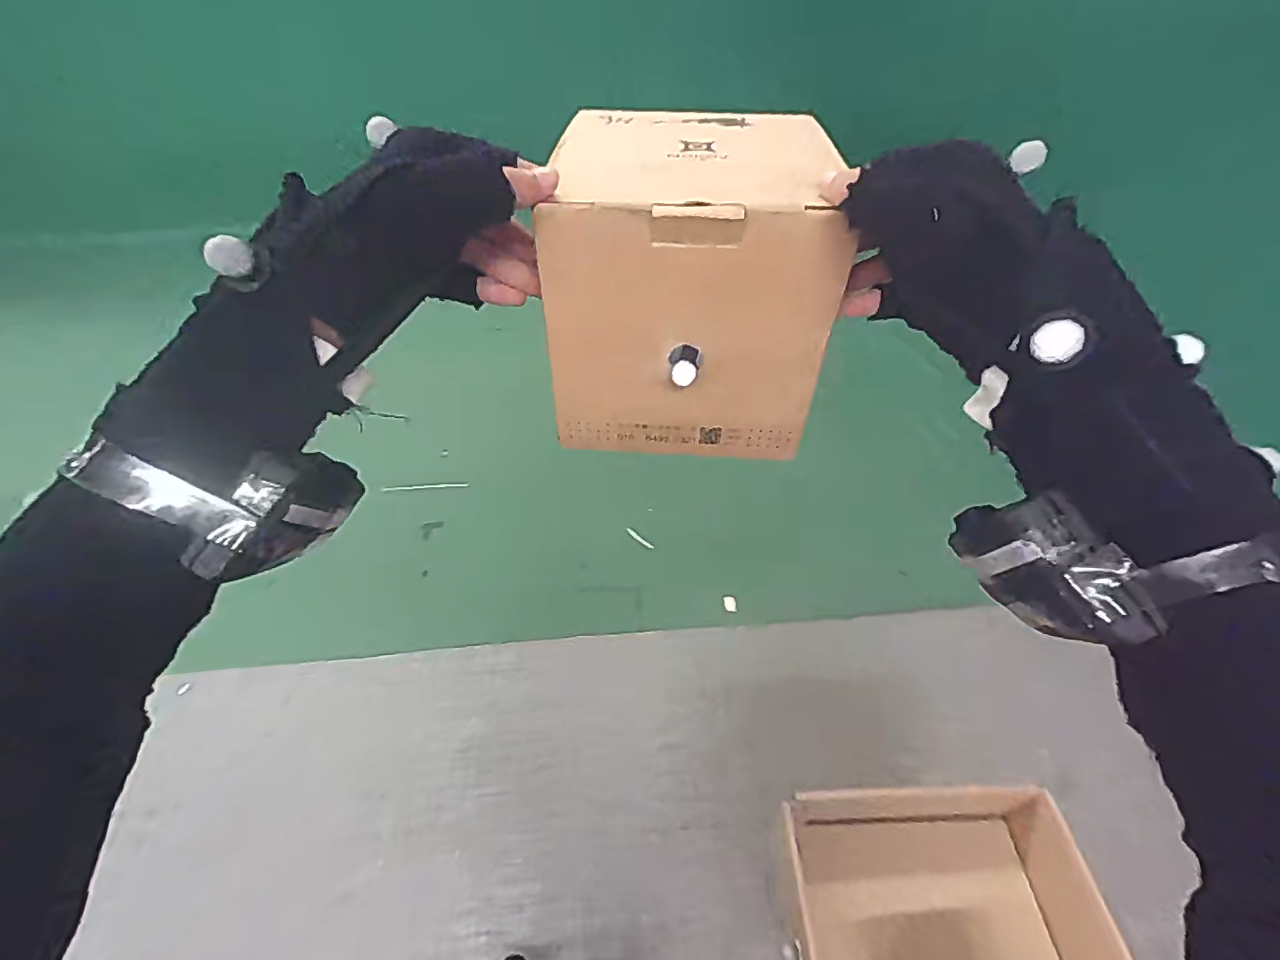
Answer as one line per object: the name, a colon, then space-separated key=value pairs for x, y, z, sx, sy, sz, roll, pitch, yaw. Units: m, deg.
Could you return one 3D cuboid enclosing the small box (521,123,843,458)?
small box: x=0.026 y=-0.132 z=0.383 sx=0.168 sy=0.176 sz=0.179 roll=3 pitch=47 yaw=2
